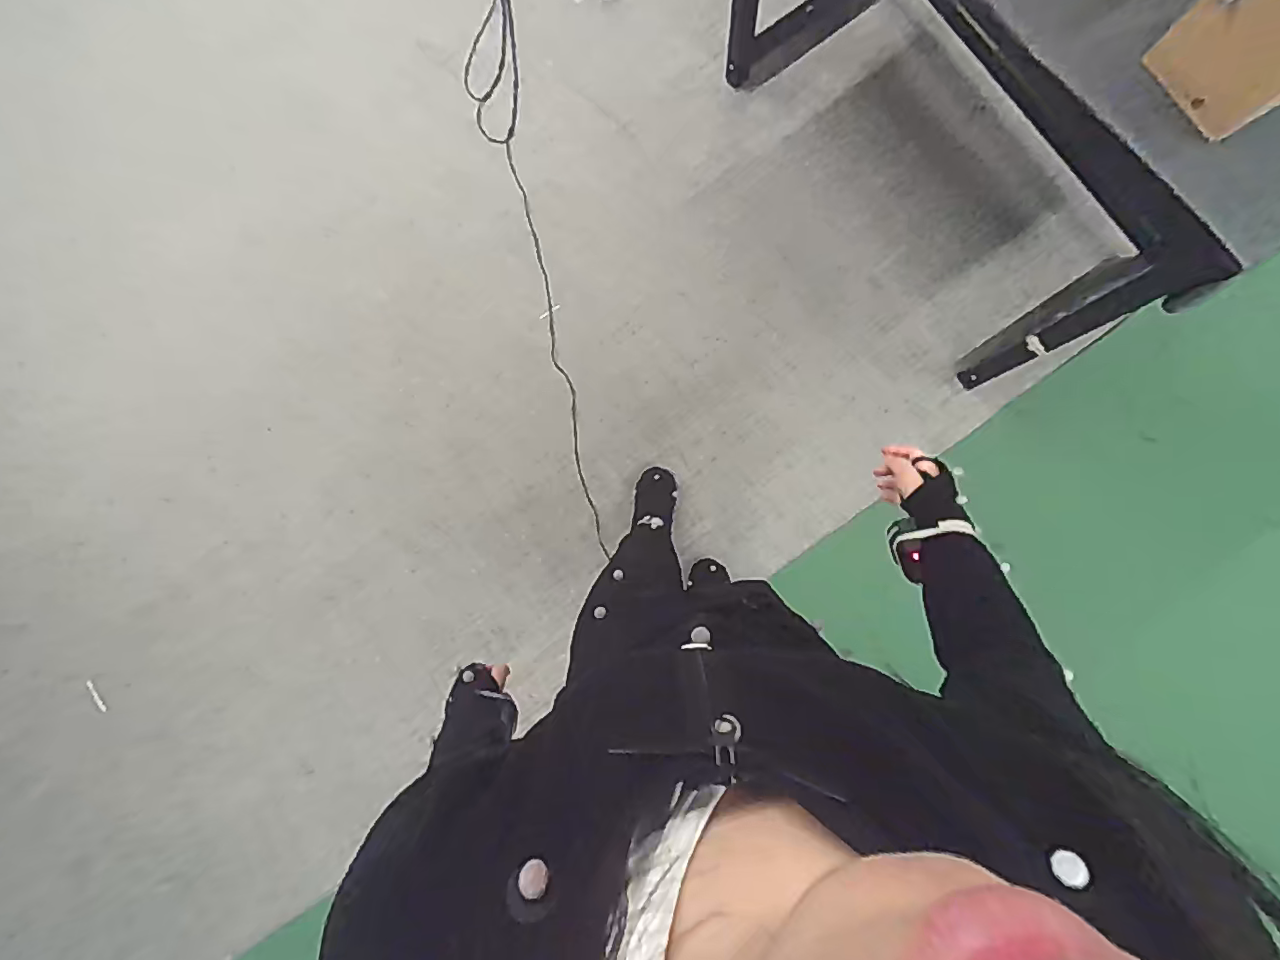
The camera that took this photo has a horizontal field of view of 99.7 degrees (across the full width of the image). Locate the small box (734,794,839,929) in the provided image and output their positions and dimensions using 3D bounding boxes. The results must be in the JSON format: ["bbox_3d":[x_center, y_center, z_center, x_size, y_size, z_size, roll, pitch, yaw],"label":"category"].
[{"bbox_3d":[0.352,0.927,1.333,0.168,0.176,0.179,-35,84,-1],"label":"small box"}]
